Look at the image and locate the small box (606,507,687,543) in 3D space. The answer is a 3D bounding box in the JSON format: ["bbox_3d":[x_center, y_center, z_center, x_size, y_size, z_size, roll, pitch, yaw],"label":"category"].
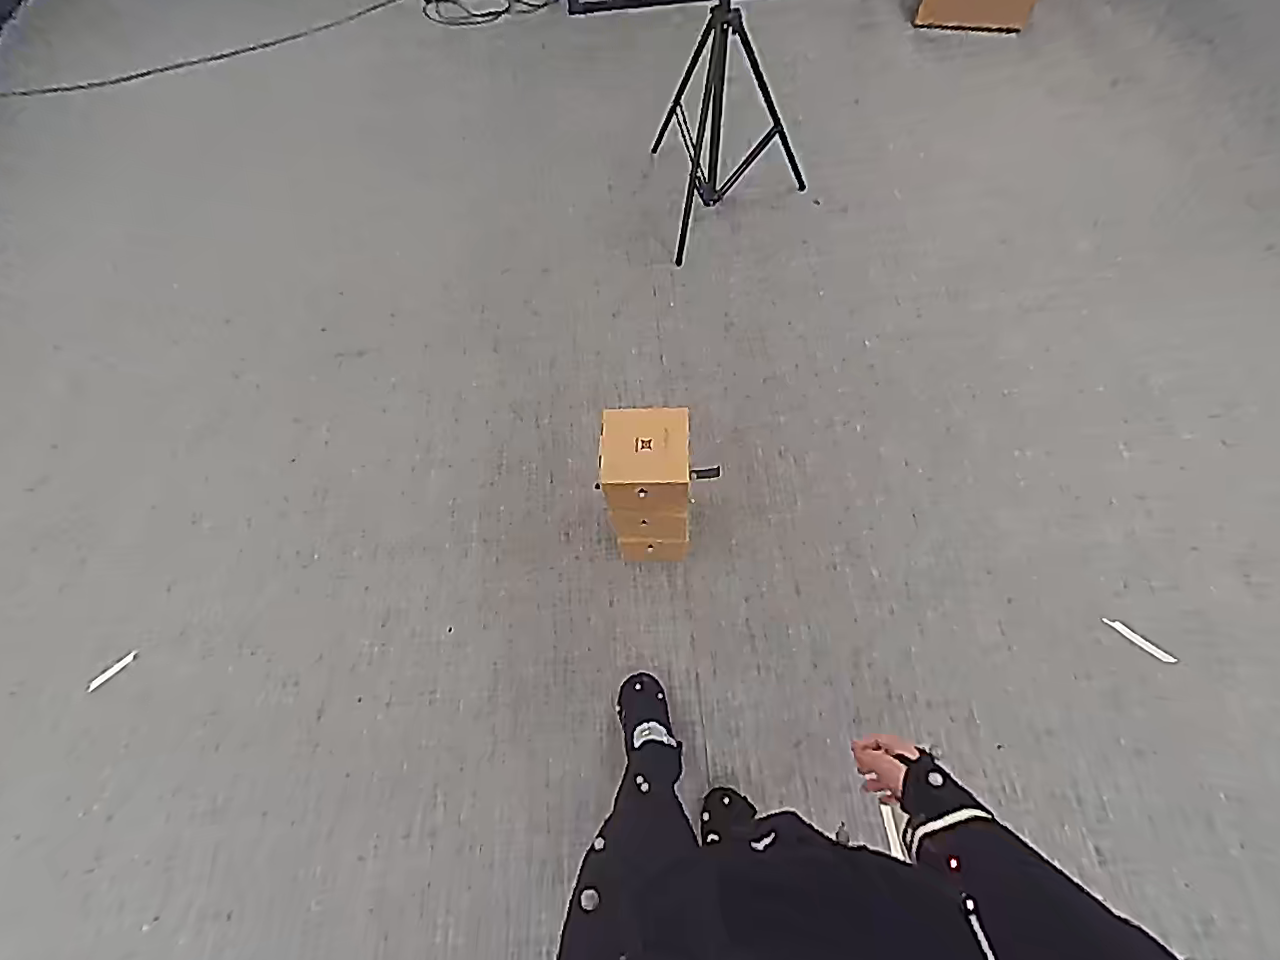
[{"bbox_3d":[0.024,0.046,1.283,0.179,0.176,0.168,2,67,5],"label":"small box"}]

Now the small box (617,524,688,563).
[{"bbox_3d":[0.036,0.120,1.429,0.179,0.176,0.168,-1,66,4],"label":"small box"}]

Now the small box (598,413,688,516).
[{"bbox_3d":[0.013,-0.027,1.138,0.179,0.176,0.168,-1,67,4],"label":"small box"}]
